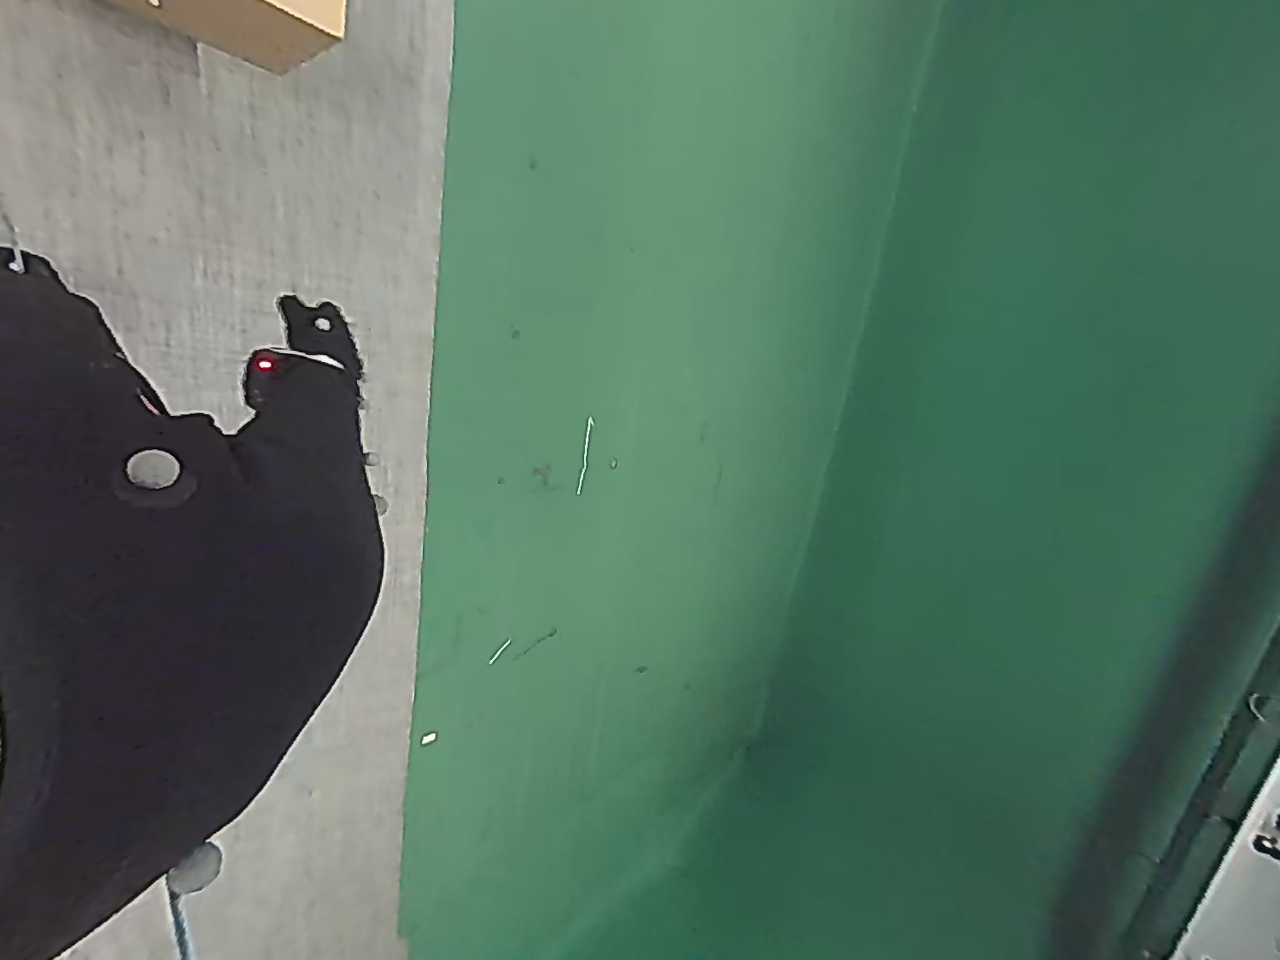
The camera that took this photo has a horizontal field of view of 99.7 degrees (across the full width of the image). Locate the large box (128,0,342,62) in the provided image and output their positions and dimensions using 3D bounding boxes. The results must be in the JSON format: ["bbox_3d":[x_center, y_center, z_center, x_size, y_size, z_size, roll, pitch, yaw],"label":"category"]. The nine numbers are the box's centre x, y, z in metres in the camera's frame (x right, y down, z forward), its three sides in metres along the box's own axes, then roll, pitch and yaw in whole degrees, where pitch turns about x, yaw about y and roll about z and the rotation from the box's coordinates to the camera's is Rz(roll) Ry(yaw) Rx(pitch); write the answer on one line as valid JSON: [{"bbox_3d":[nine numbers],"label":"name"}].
[{"bbox_3d":[-0.678,-0.868,0.750,0.408,0.320,0.320,-5,111,-48],"label":"large box"}]
